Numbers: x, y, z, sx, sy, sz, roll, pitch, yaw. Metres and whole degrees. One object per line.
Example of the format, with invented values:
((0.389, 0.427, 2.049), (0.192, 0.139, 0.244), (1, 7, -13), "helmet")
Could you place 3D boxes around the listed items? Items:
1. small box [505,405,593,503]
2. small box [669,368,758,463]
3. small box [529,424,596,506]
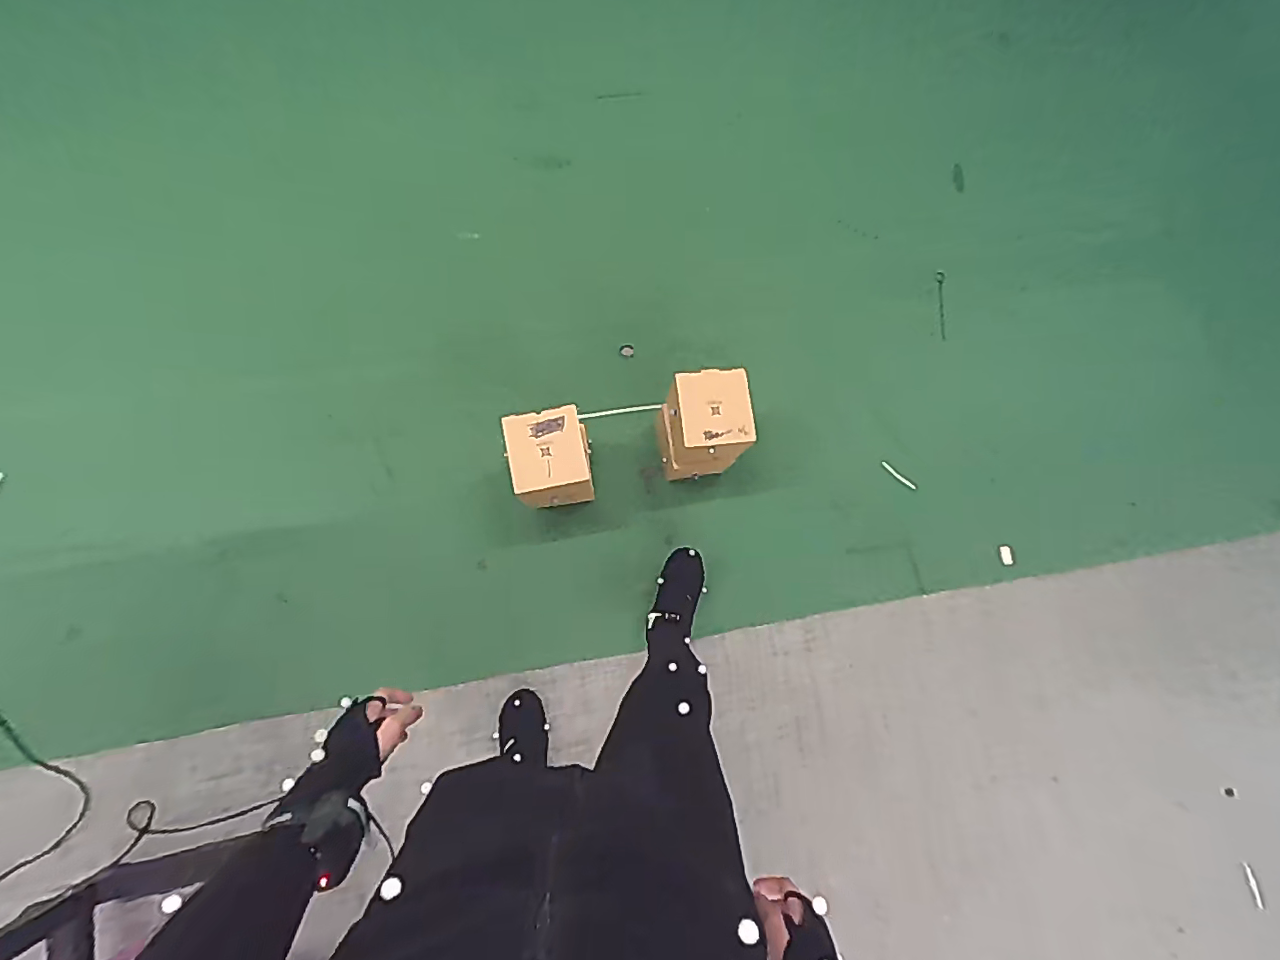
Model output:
((-0.204, -0.054, 1.243), (0.168, 0.176, 0.179), (-12, 82, -5), "small box")
((0.167, -0.149, 1.285), (0.168, 0.176, 0.179), (-5, 80, -5), "small box")
((-0.206, -0.031, 1.407), (0.168, 0.176, 0.179), (-8, 79, -5), "small box")
